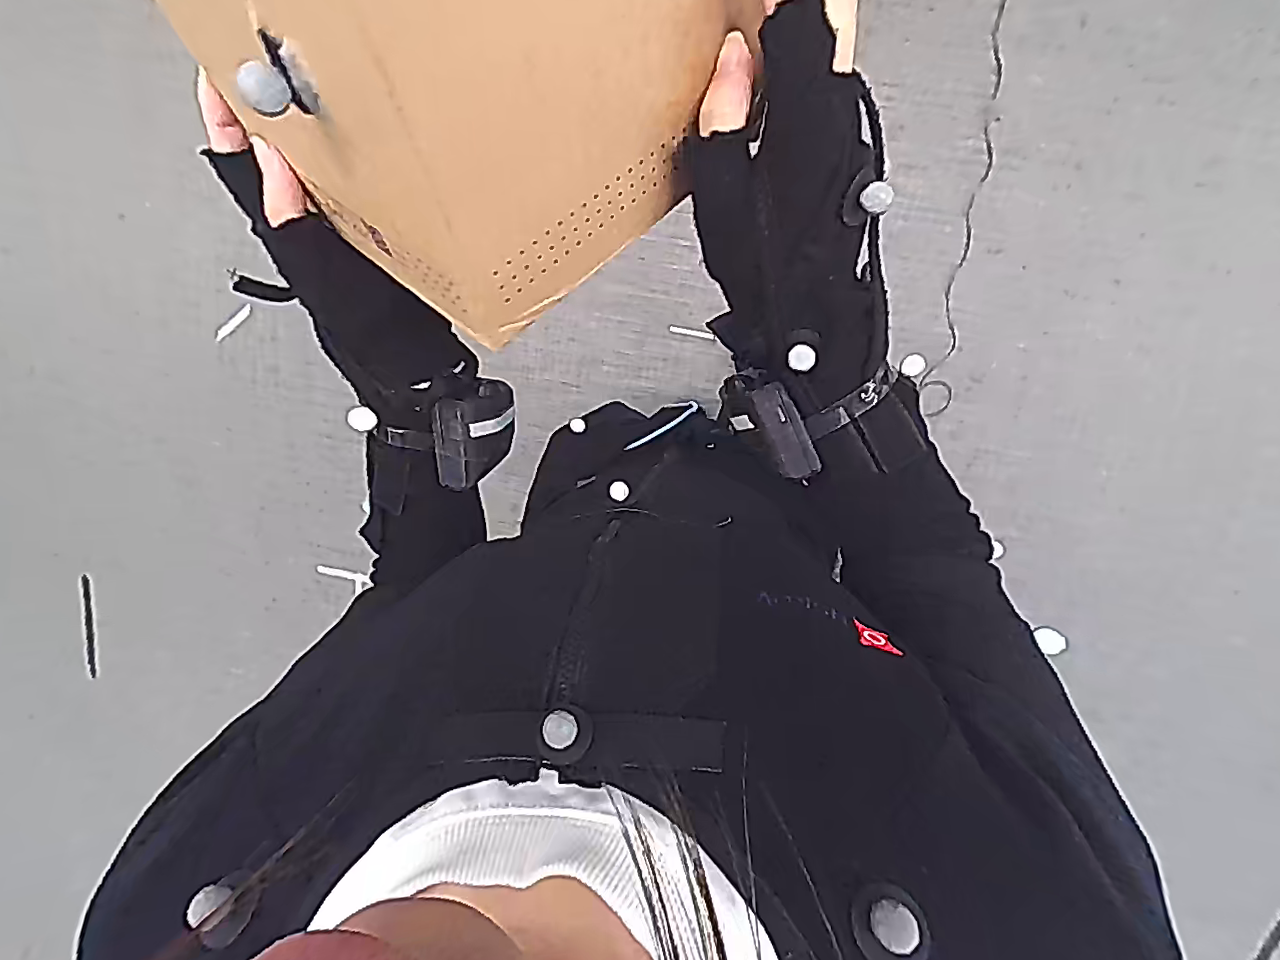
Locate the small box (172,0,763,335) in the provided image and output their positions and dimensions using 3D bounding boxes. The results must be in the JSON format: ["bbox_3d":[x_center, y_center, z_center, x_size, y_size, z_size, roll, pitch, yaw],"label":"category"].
[{"bbox_3d":[-0.062,-0.190,0.203,0.168,0.176,0.179,37,71,21],"label":"small box"}]
